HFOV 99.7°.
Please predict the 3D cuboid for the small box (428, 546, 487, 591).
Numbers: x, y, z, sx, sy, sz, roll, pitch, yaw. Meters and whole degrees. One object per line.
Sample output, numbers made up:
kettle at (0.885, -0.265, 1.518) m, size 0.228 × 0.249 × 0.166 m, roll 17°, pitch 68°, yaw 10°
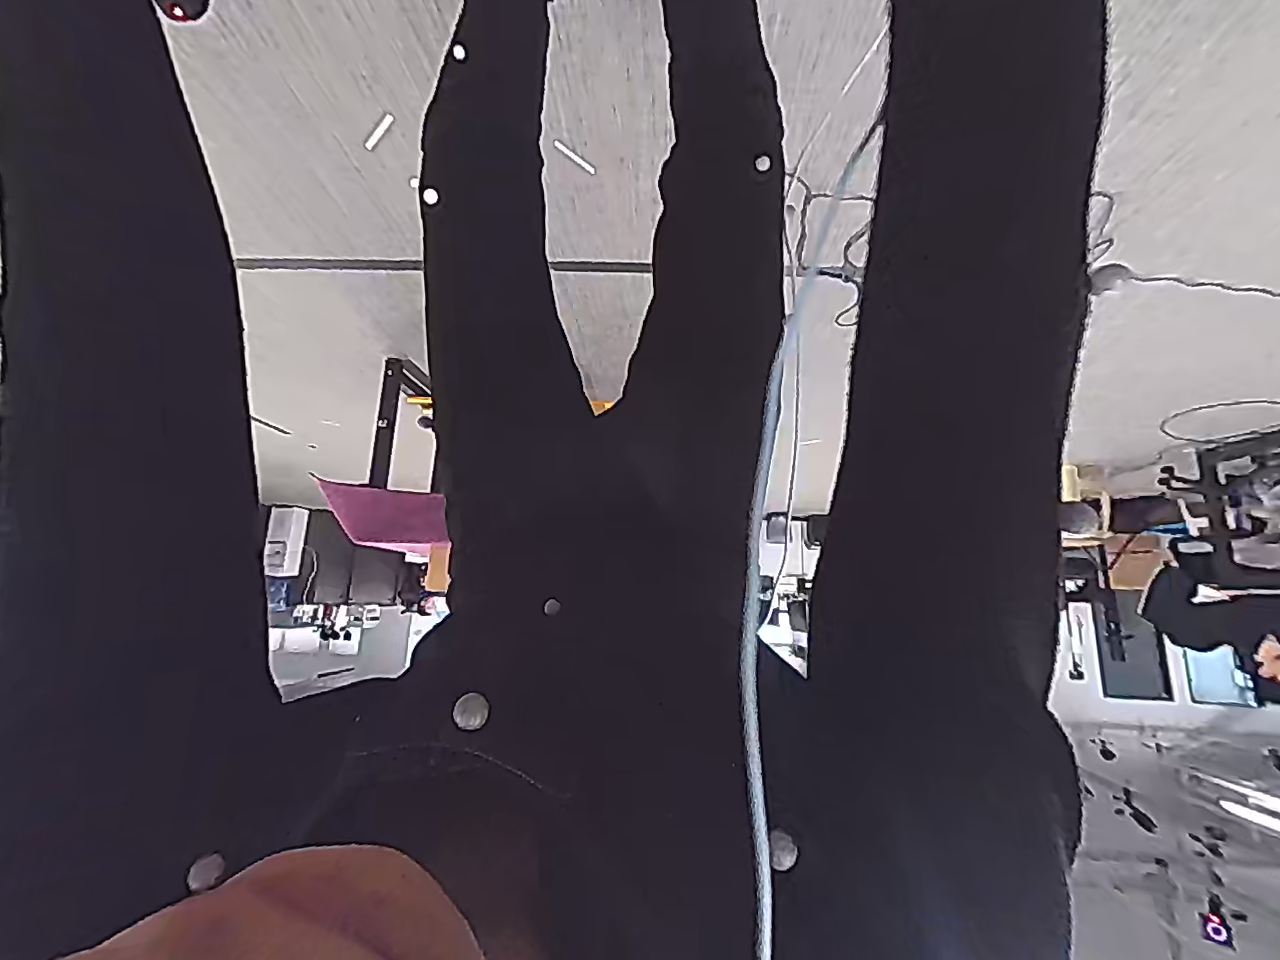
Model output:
small box at (-0.725, 0.356, 2.168) m, size 0.179 × 0.176 × 0.168 m, roll 2°, pitch 168°, yaw 4°
